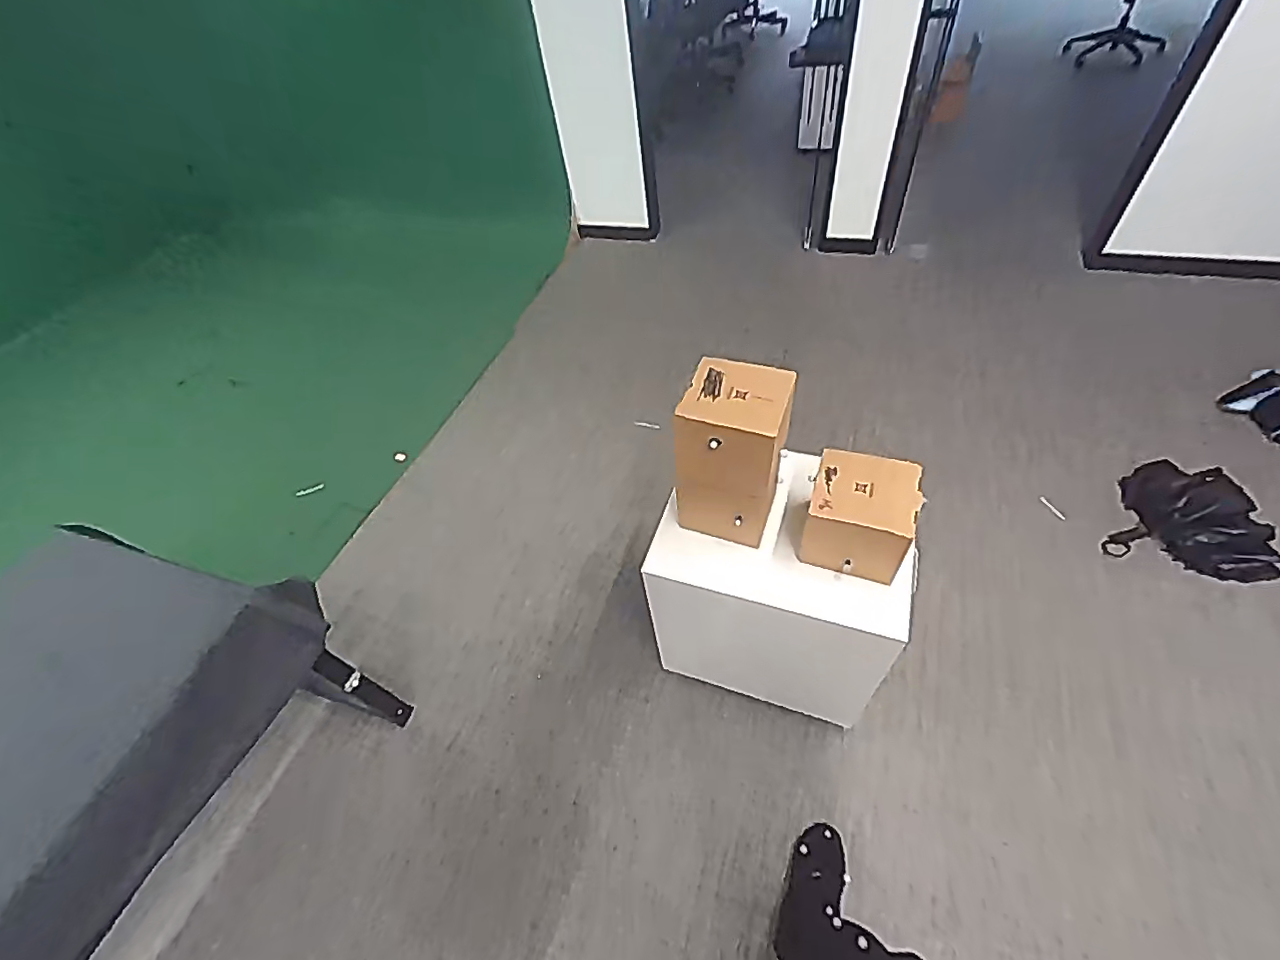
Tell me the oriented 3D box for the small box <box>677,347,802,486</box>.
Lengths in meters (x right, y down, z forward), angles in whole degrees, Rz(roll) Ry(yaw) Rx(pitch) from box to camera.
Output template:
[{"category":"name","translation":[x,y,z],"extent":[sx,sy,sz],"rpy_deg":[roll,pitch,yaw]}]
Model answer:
[{"category":"small box","translation":[0.176,-0.111,0.976],"extent":[0.179,0.176,0.168],"rpy_deg":[16,55,16]}]

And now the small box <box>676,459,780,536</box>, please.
[{"category":"small box","translation":[0.183,-0.006,1.104],"extent":[0.179,0.176,0.168],"rpy_deg":[14,54,17]}]

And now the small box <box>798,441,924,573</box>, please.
[{"category":"small box","translation":[0.412,0.056,1.025],"extent":[0.179,0.176,0.168],"rpy_deg":[15,55,17]}]
